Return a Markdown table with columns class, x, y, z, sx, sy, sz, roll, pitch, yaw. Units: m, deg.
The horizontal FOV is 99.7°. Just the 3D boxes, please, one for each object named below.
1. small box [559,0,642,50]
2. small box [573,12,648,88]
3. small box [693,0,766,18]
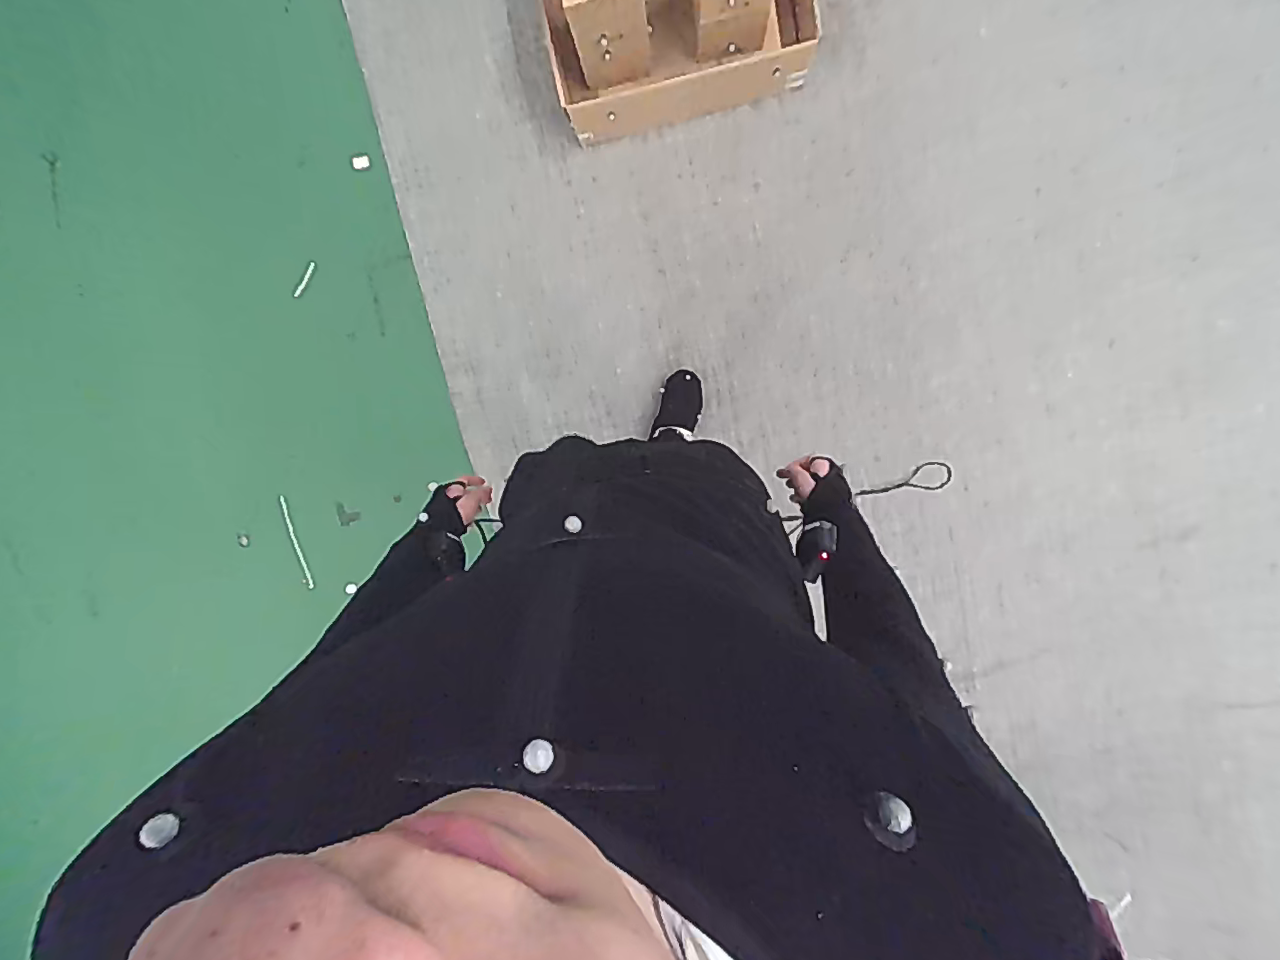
| class | x | y | z | sx | sy | sz | roll | pitch | yaw |
| --- | --- | --- | --- | --- | --- | --- | --- | --- | --- |
| small box | -0.092 | -1.053 | 1.124 | 0.168 | 0.176 | 0.179 | -9 | 100 | 6 |
| small box | -0.078 | -1.085 | 1.284 | 0.168 | 0.176 | 0.179 | -9 | 99 | 6 |
| small box | 0.182 | -1.102 | 1.096 | 0.168 | 0.176 | 0.179 | -9 | 100 | 7 |
